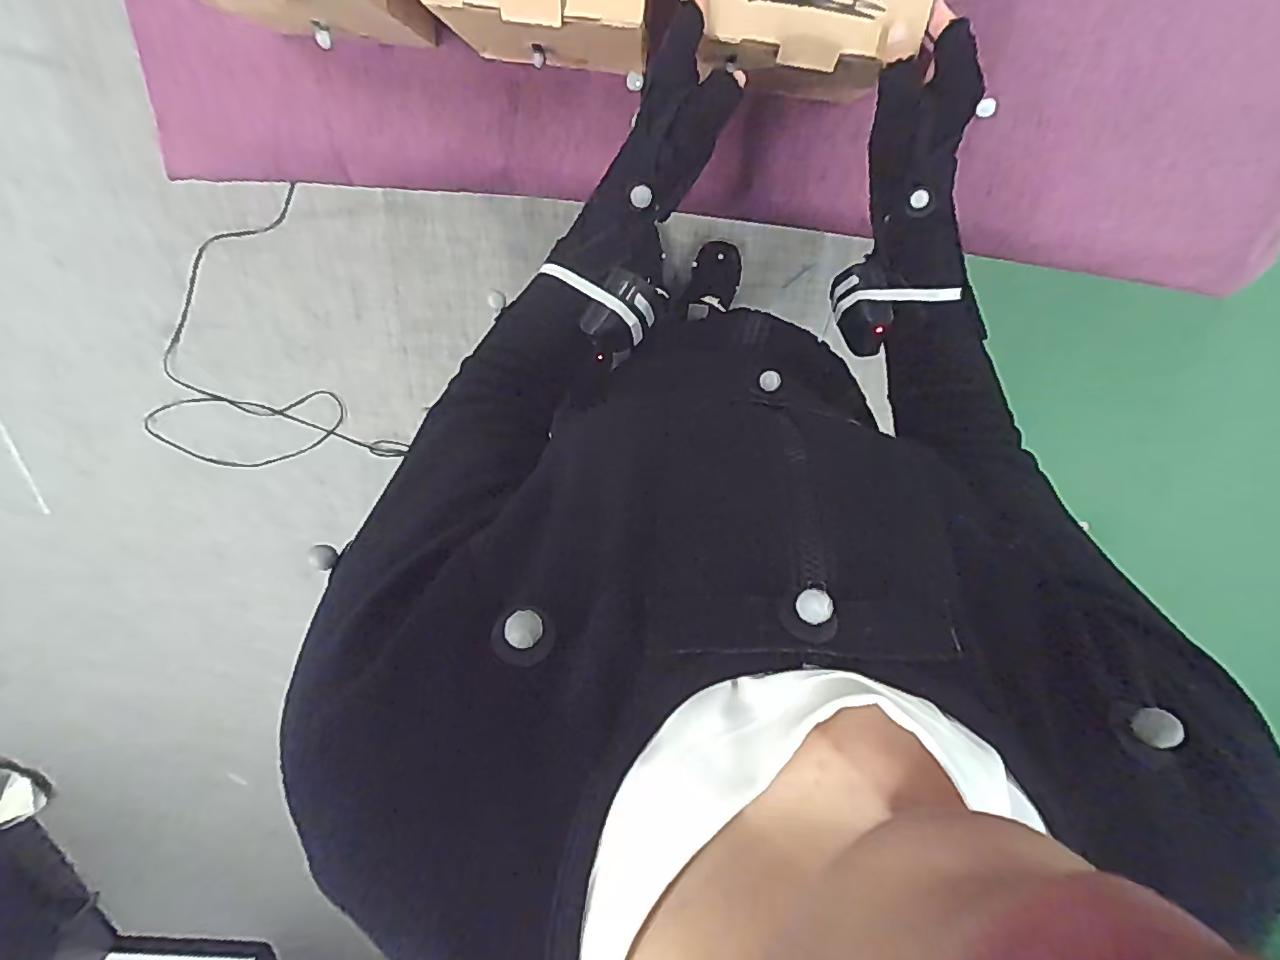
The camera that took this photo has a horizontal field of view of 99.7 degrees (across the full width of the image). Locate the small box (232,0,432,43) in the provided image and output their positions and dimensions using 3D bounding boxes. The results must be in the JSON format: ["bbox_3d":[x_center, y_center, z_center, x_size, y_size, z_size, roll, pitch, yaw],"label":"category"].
[{"bbox_3d":[-0.278,-0.480,0.424,0.168,0.176,0.179,5,118,-1],"label":"small box"}]
